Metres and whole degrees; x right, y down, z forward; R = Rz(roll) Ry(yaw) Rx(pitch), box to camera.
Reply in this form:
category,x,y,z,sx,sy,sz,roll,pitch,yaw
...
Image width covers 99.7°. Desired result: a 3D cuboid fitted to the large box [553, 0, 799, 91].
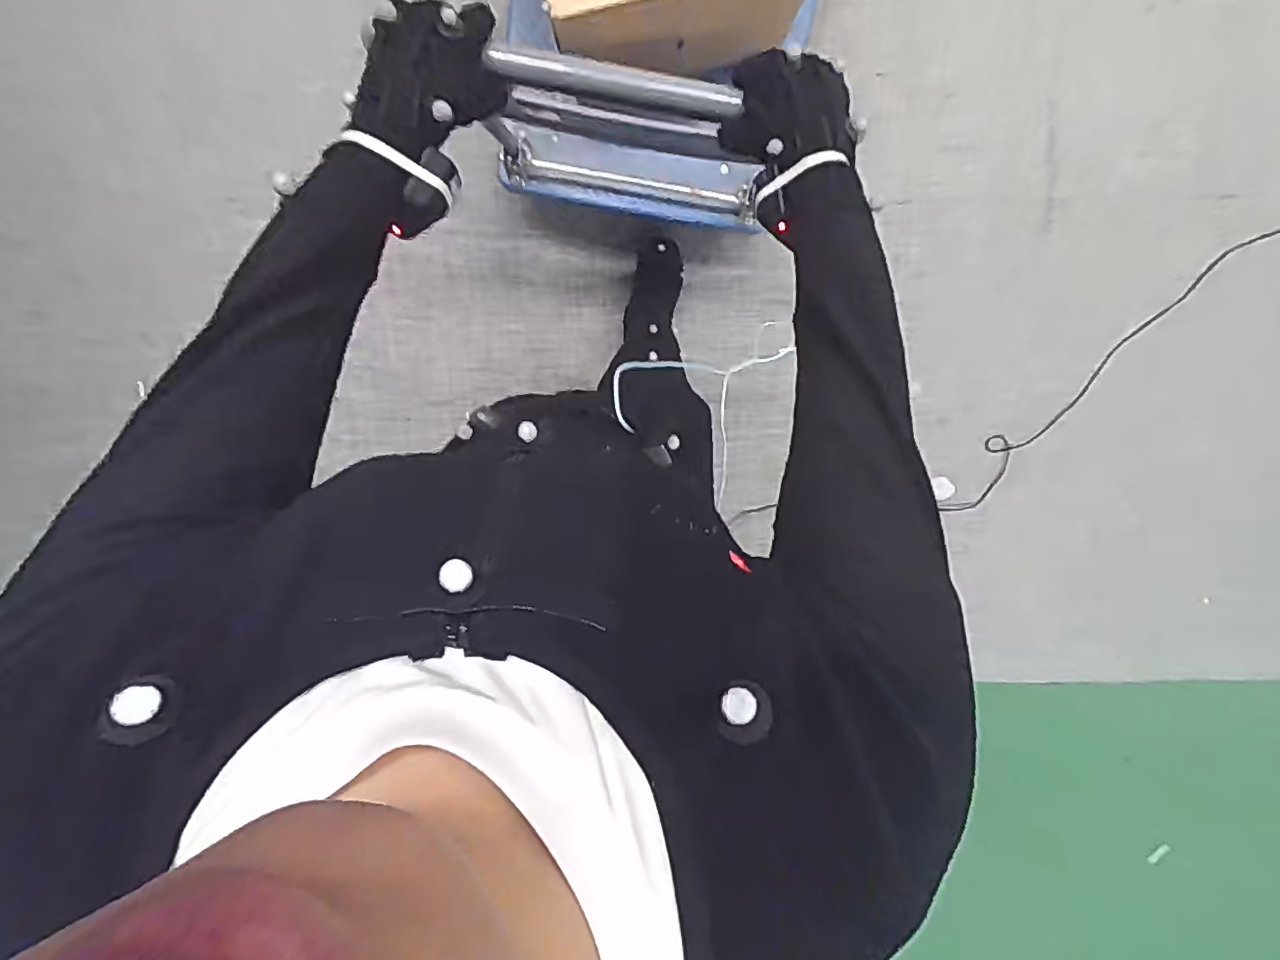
category,x,y,z,sx,sy,sz,roll,pitch,yaw
large box,0.045,-0.907,0.879,0.408,0.320,0.320,-10,105,5
